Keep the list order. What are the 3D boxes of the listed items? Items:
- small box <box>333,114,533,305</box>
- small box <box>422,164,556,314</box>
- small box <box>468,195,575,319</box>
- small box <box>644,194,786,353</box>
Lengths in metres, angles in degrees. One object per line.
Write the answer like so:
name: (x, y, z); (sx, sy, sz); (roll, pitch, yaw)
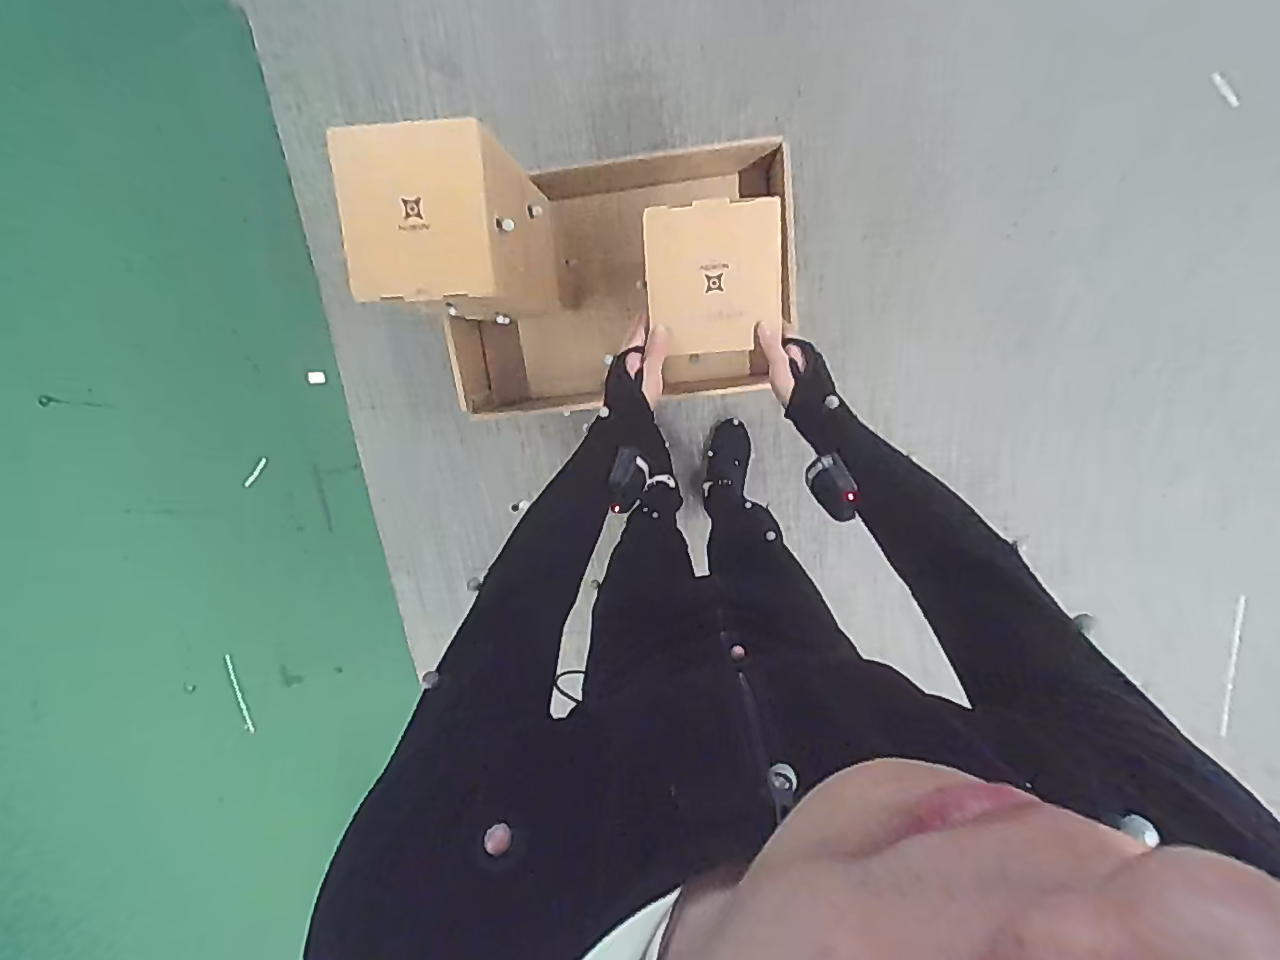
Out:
small box: (-0.235, -0.311, 0.658); (0.168, 0.176, 0.179); (-1, 105, 4)
small box: (-0.228, -0.350, 0.815); (0.168, 0.176, 0.179); (-2, 104, 5)
small box: (-0.218, -0.390, 0.974); (0.168, 0.176, 0.179); (-4, 104, 5)
small box: (0.091, -0.263, 0.725); (0.168, 0.176, 0.179); (-3, 104, 1)
